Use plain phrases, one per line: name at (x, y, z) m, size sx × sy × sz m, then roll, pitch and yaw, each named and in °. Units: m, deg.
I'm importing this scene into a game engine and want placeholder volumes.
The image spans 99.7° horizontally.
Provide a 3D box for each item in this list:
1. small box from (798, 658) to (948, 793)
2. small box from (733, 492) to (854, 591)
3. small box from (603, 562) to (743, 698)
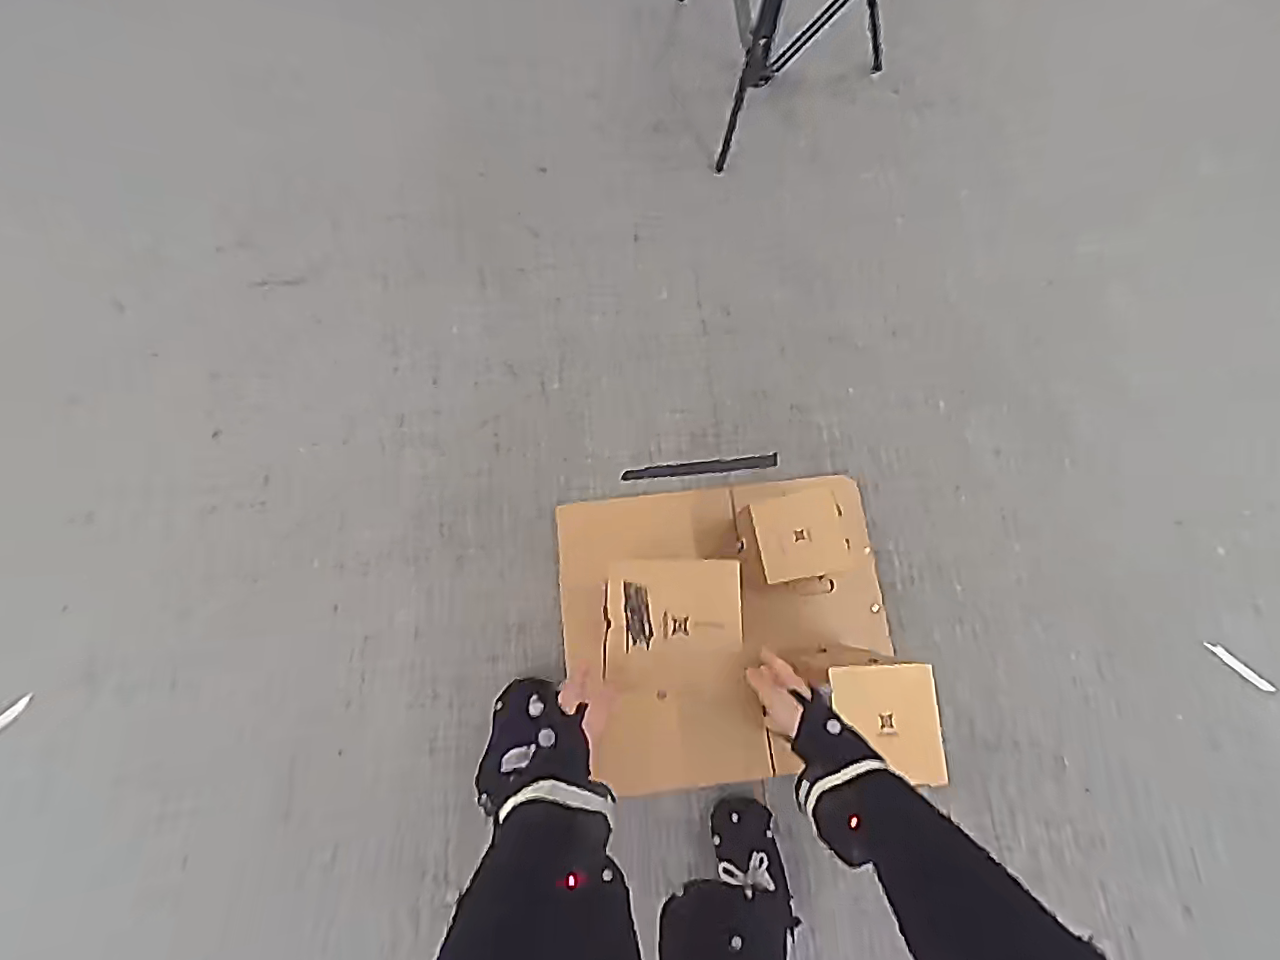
small box at (0.370, 0.392, 0.893) m, size 0.168 × 0.176 × 0.179 m, roll -2°, pitch 78°, yaw -2°
small box at (0.309, 0.134, 1.123) m, size 0.179 × 0.176 × 0.168 m, roll -10°, pitch 76°, yaw -5°
small box at (0.041, 0.206, 0.759) m, size 0.179 × 0.176 × 0.168 m, roll 1°, pitch 77°, yaw -1°
